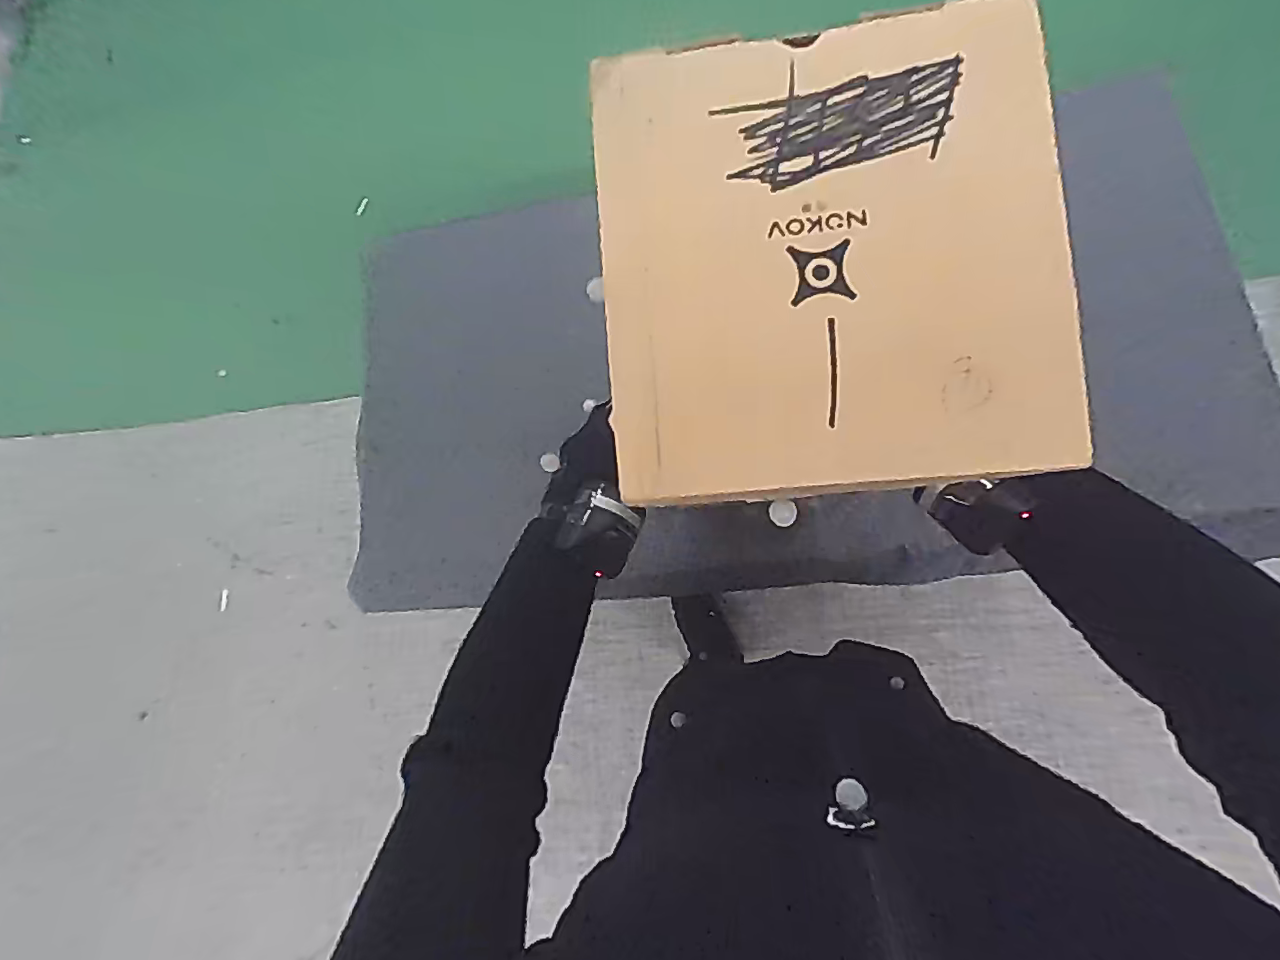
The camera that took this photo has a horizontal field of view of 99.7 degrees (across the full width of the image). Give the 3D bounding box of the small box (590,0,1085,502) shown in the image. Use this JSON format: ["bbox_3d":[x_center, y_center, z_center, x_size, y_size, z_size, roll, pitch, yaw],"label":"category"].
[{"bbox_3d":[0.074,-0.081,0.276,0.168,0.176,0.179,-4,87,7],"label":"small box"}]
